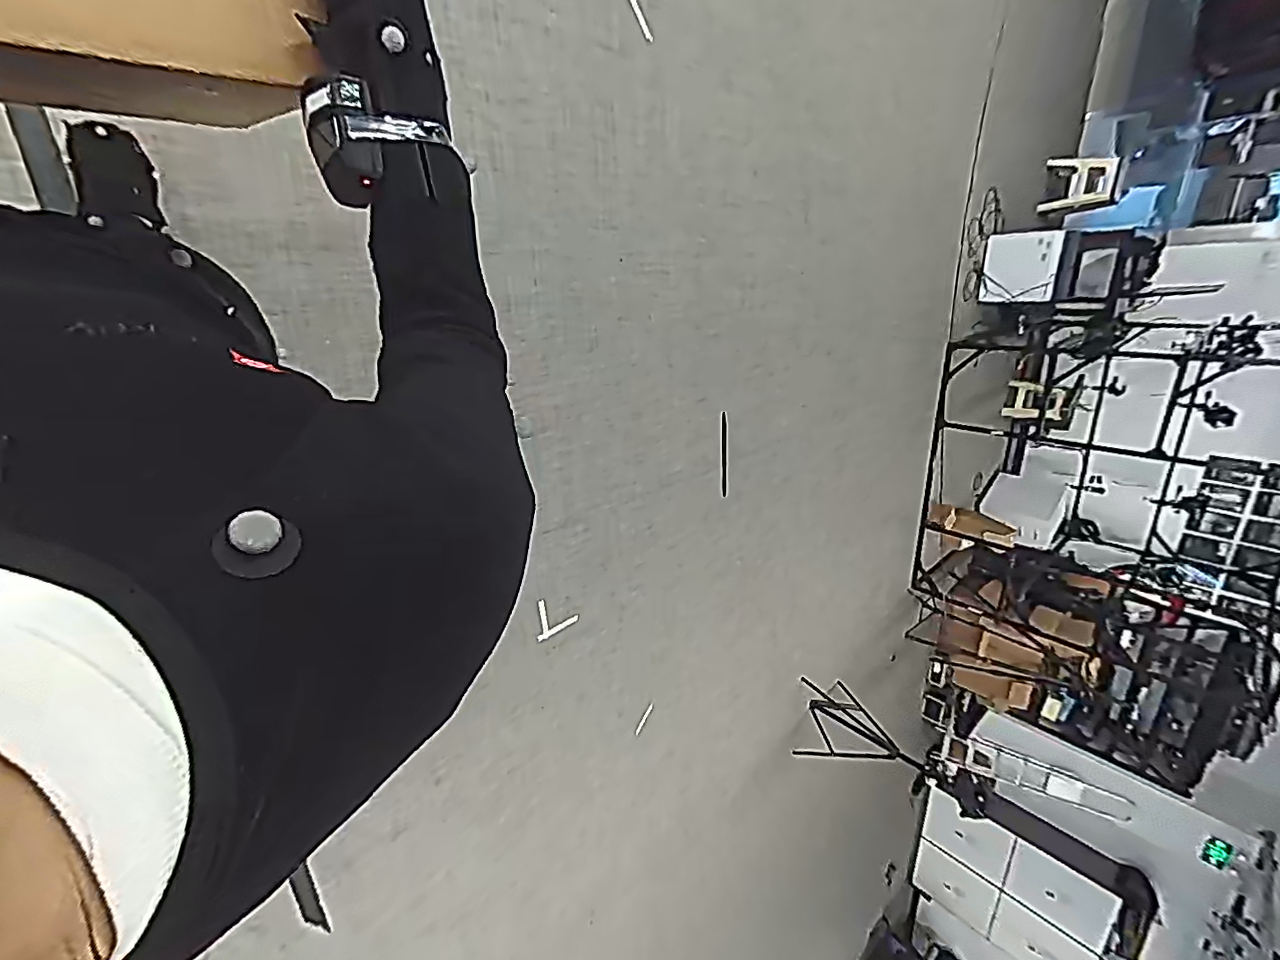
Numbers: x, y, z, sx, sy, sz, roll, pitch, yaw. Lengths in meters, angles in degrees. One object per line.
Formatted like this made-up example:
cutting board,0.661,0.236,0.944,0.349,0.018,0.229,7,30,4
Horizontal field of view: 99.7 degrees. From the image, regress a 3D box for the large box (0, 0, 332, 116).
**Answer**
large box,-0.452,-0.402,0.275,0.408,0.320,0.320,-21,126,-39
